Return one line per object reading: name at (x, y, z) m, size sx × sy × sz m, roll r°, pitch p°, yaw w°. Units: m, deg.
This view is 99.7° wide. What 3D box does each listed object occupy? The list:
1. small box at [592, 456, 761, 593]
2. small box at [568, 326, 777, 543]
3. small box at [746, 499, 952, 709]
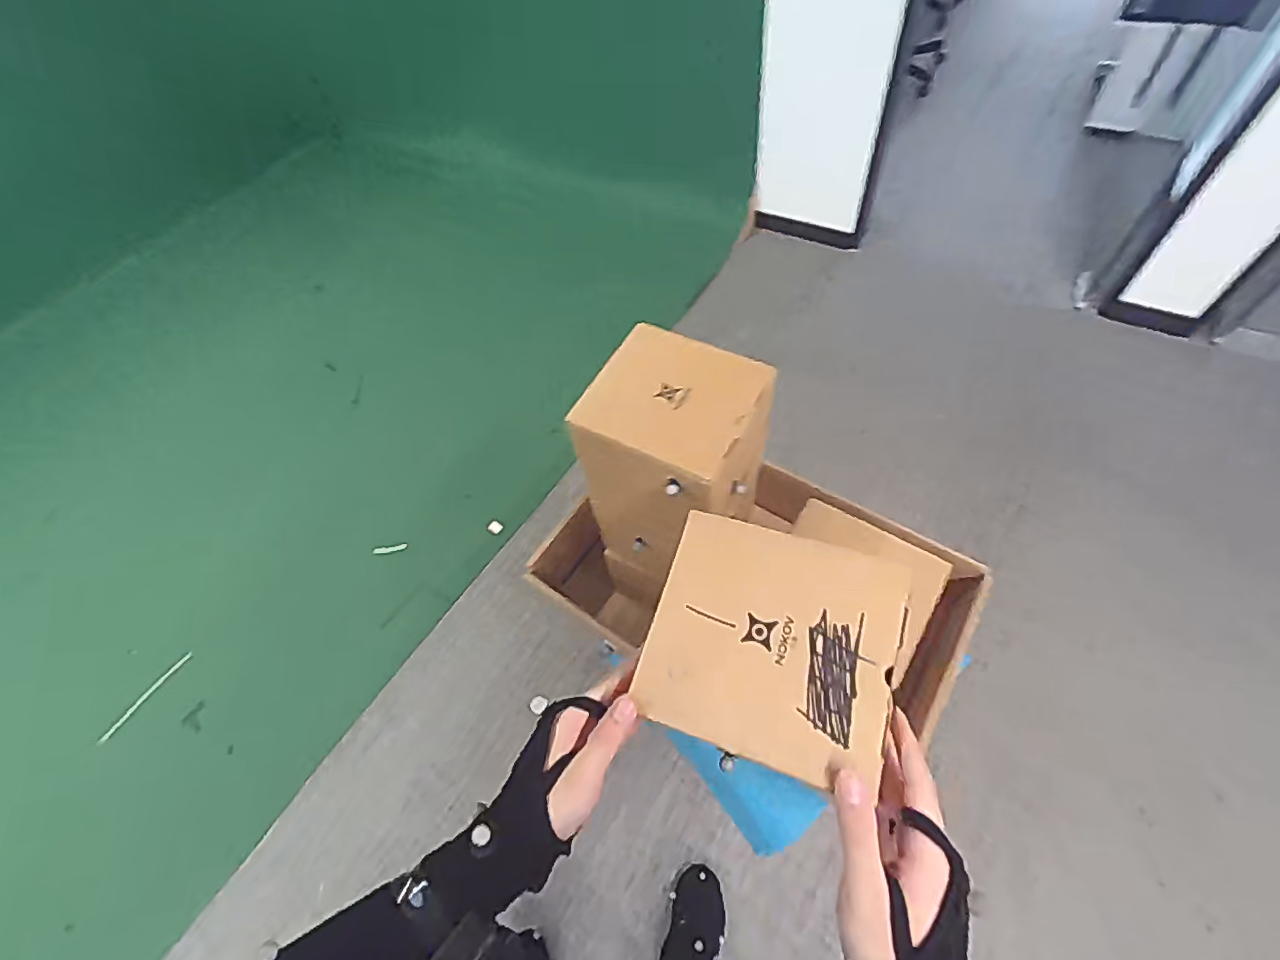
small box at (0.056, 0.040, 0.786) m, size 0.179 × 0.176 × 0.168 m, roll 24°, pitch 64°, yaw 20°
small box at (0.042, -0.049, 0.650) m, size 0.179 × 0.176 × 0.168 m, roll 24°, pitch 64°, yaw 18°
small box at (0.247, 0.161, 0.681) m, size 0.179 × 0.176 × 0.168 m, roll 29°, pitch 66°, yaw 24°
